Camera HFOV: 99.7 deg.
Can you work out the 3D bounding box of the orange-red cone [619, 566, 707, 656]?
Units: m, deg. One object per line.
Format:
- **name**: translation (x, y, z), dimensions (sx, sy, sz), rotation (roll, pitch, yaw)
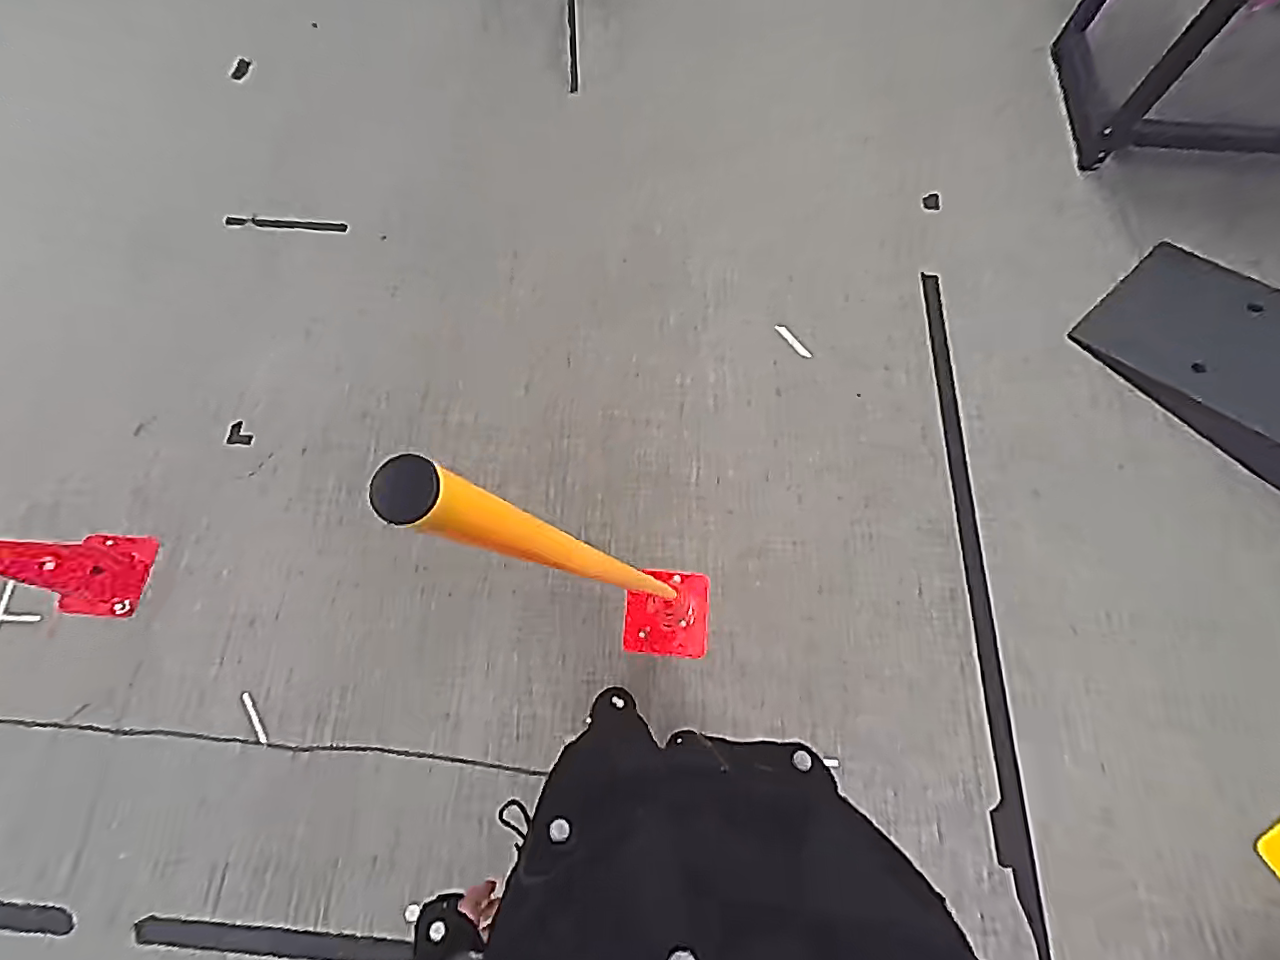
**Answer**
- **orange-red cone**: translation (0.056, 0.259, 1.139), dimensions (0.199, 0.360, 0.198), rotation (6, 72, 3)
